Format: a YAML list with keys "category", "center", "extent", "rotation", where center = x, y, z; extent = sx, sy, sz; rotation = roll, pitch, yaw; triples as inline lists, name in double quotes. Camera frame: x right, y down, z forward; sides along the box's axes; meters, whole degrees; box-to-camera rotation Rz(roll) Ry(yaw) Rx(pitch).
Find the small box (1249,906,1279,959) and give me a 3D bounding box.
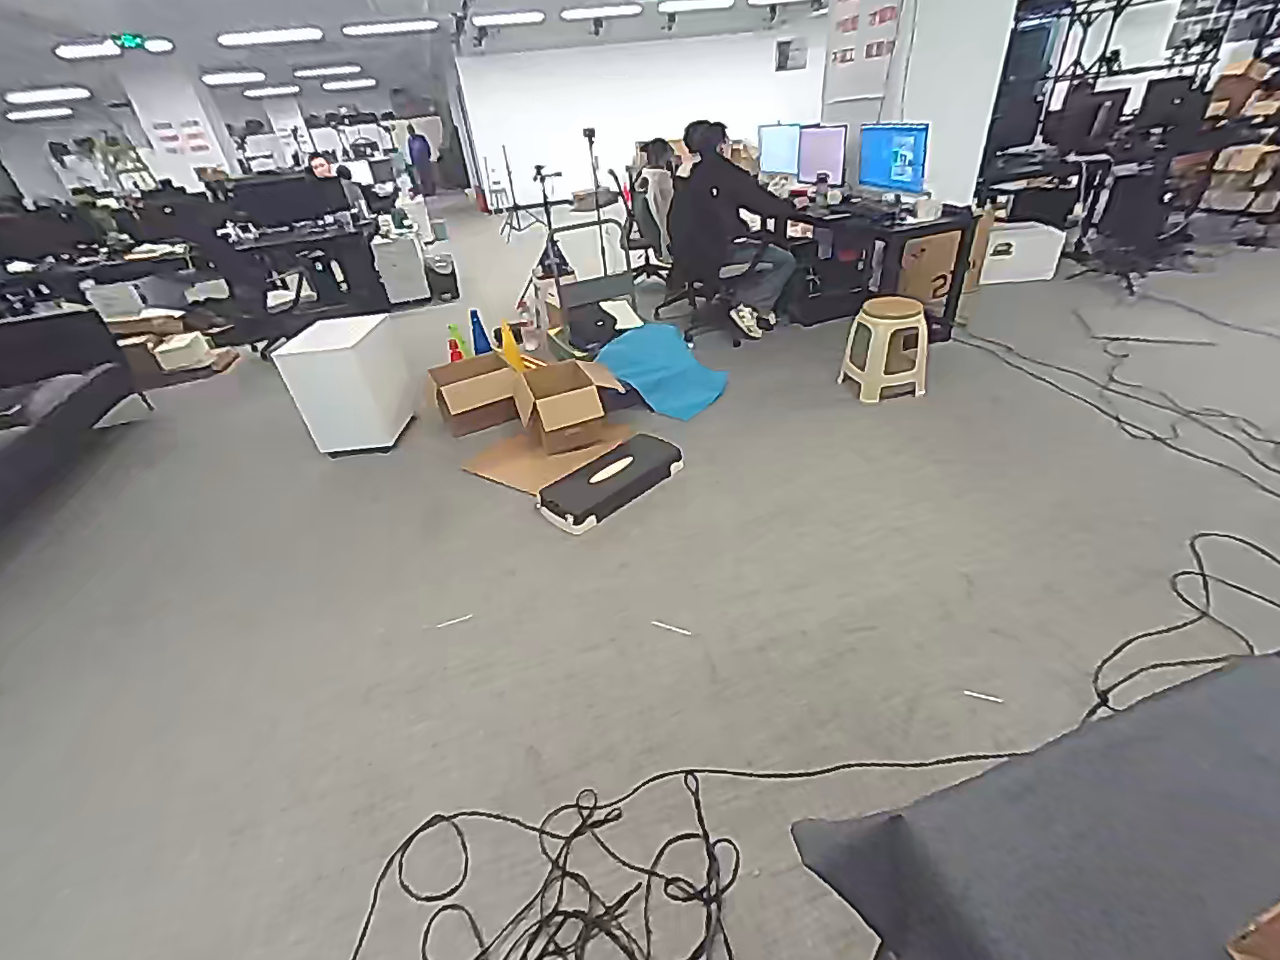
- category: "small box"
  center: [0.619, 0.360, 0.386]
  extent: [0.179, 0.176, 0.168]
  rotation: [-18, 36, -14]
